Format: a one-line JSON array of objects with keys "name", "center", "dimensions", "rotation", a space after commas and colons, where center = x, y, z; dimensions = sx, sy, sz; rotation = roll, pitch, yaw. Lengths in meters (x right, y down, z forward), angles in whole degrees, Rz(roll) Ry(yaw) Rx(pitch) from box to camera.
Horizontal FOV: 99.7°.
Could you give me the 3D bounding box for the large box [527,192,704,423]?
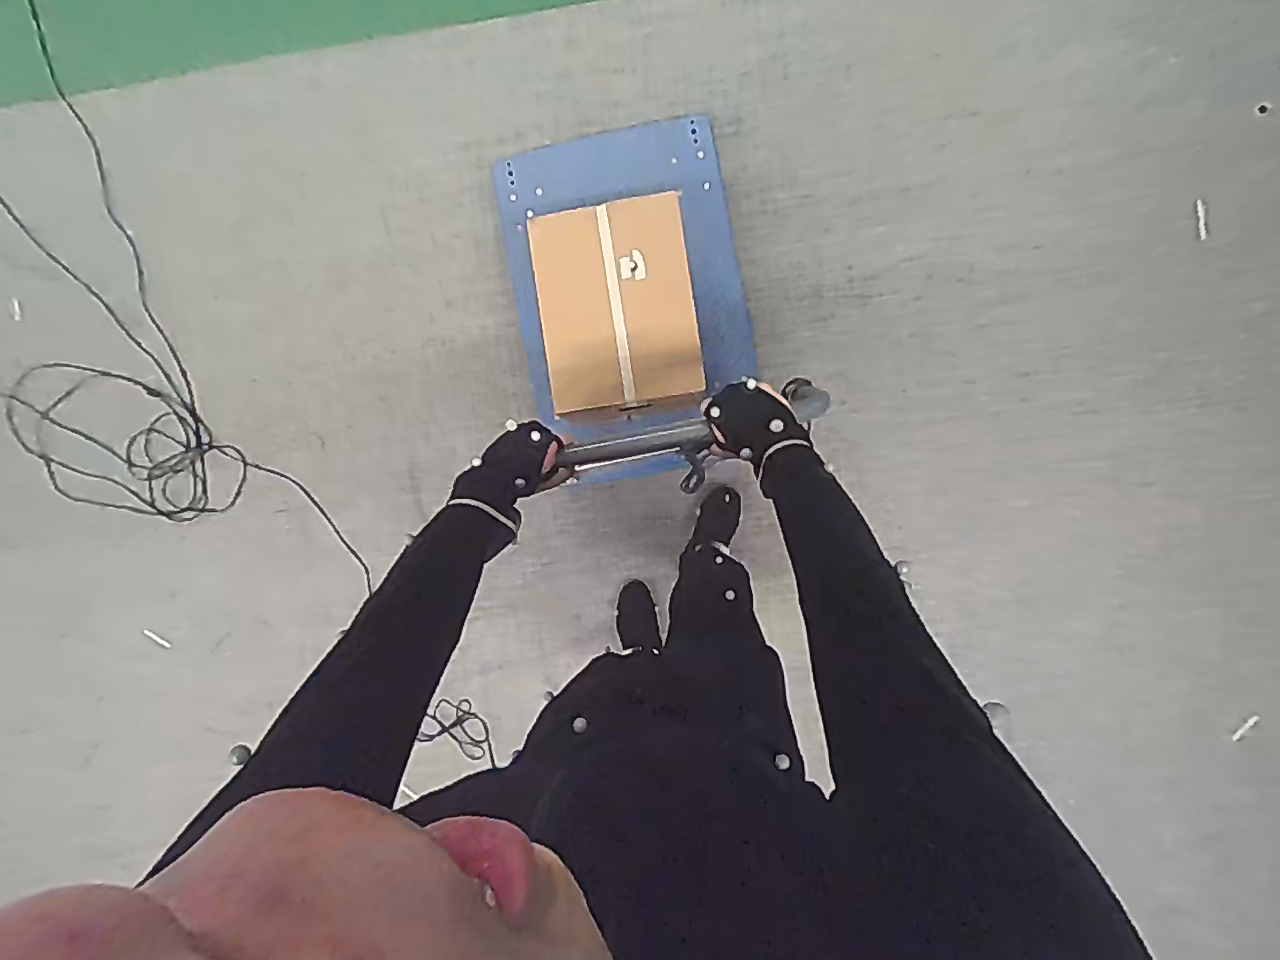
[{"name": "large box", "center": [-0.041, -0.362, 1.243], "dimensions": [0.320, 0.320, 0.408], "rotation": [-8, 90, 3]}]
